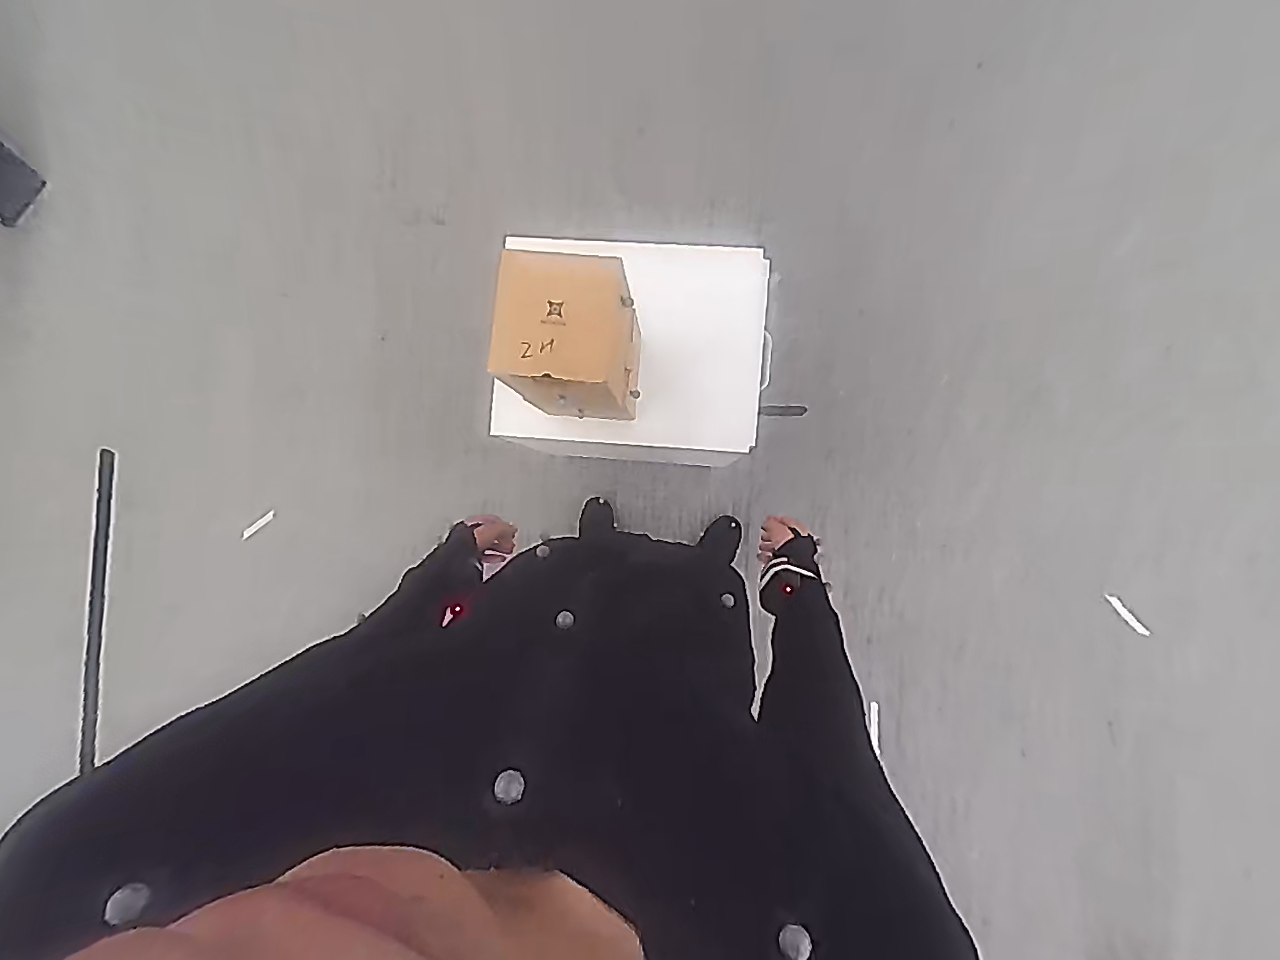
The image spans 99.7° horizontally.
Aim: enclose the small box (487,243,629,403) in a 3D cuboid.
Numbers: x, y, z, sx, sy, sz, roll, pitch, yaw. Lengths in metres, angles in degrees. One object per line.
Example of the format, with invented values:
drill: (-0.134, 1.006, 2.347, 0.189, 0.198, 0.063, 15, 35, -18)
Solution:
small box: (-0.110, -0.222, 0.802, 0.168, 0.176, 0.179, 7, 89, 4)
